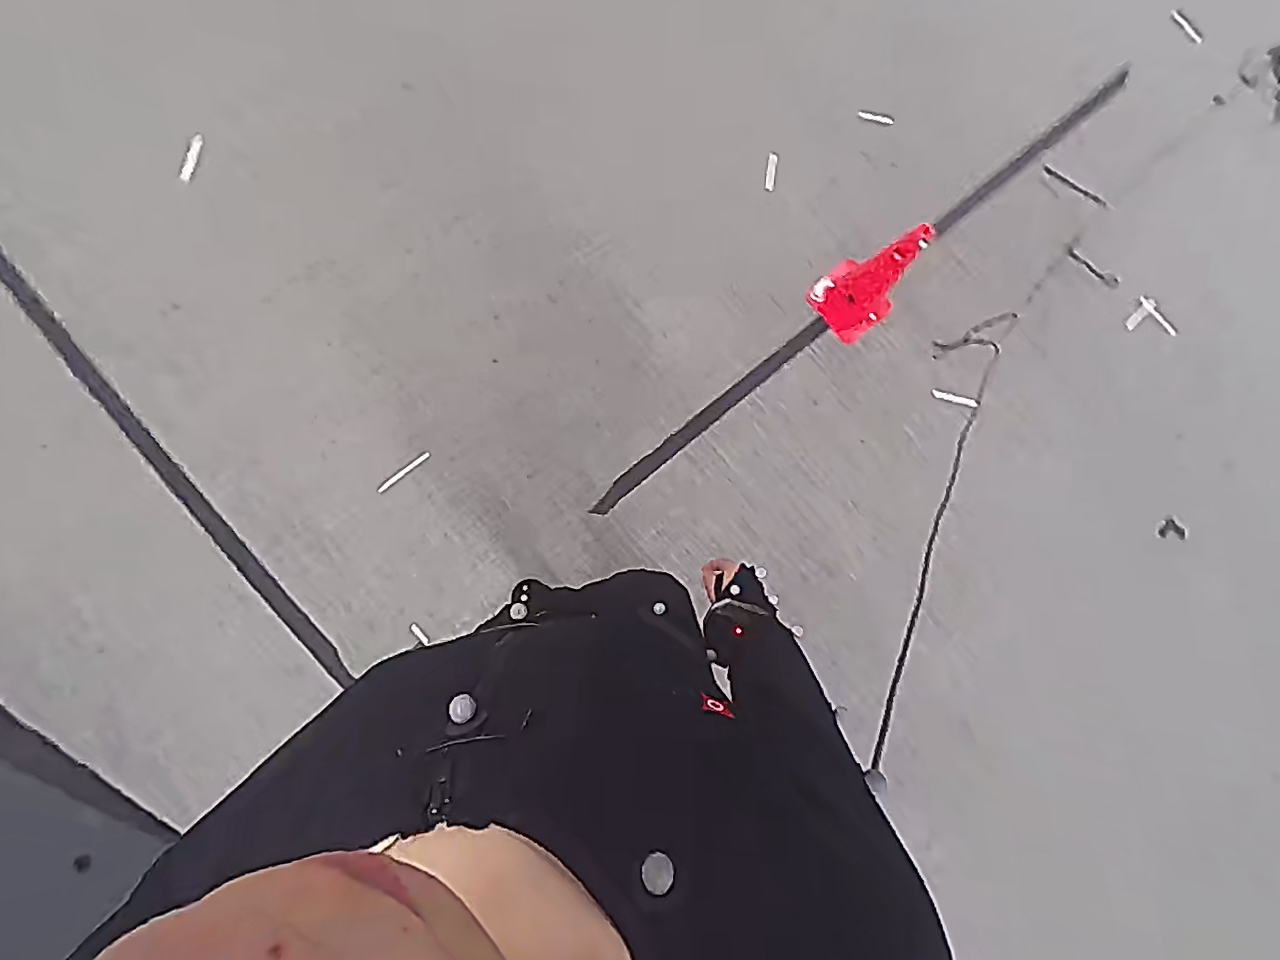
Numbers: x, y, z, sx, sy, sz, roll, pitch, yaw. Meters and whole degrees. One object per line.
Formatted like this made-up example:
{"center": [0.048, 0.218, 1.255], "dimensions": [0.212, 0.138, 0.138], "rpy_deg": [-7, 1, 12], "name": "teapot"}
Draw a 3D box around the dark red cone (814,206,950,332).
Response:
{"center": [0.634, -0.559, 1.375], "dimensions": [0.202, 0.394, 0.201], "rpy_deg": [-41, 90, -10], "name": "dark red cone"}
